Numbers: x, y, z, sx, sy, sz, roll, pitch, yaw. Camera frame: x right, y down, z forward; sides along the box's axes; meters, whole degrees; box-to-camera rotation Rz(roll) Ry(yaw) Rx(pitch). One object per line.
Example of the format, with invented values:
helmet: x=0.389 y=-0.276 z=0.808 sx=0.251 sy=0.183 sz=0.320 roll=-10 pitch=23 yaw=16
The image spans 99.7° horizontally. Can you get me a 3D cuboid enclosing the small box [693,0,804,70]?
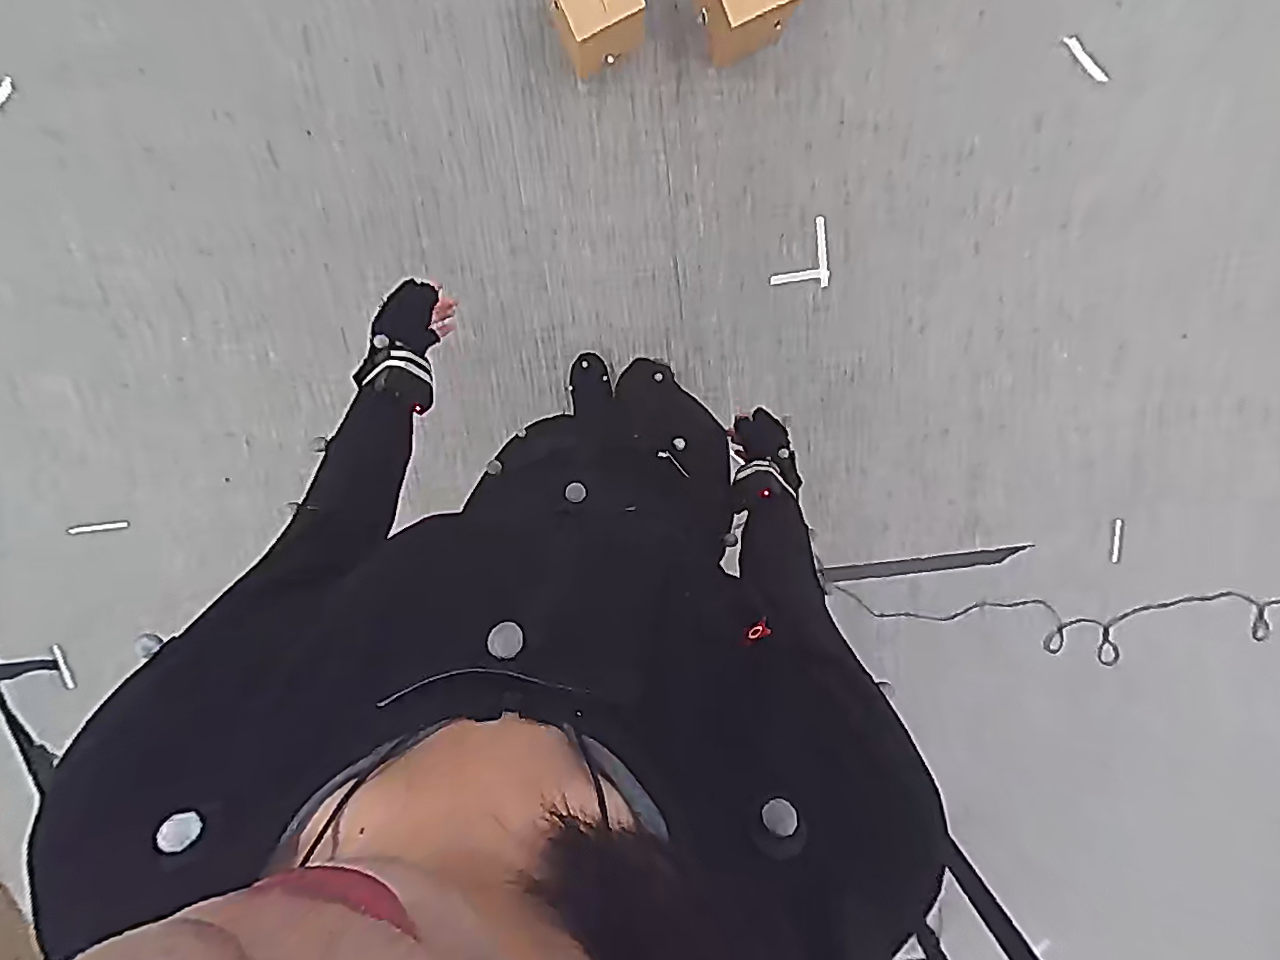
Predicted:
small box: x=0.238 y=-1.083 z=1.216 sx=0.179 sy=0.176 sz=0.168 roll=-25 pitch=102 yaw=3

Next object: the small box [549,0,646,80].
small box: x=-0.100 y=-1.047 z=1.200 sx=0.168 sy=0.176 sz=0.179 roll=-26 pitch=103 yaw=2
